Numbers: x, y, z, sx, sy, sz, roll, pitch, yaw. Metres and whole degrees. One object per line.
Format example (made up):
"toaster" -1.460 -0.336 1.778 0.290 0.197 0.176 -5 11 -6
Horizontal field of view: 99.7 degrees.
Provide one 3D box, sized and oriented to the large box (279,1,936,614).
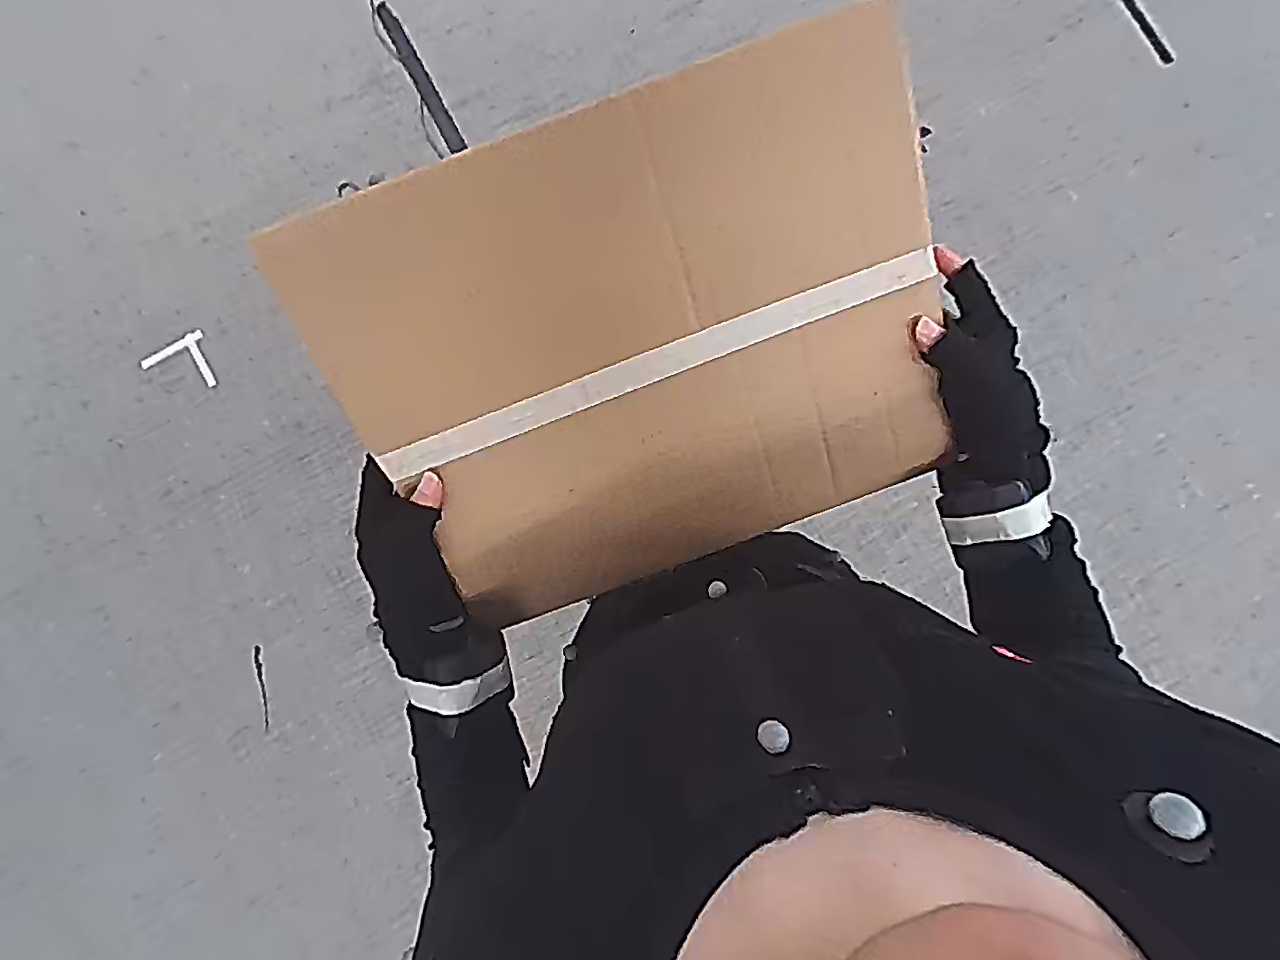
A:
"large box" -0.012 -0.141 0.524 0.408 0.320 0.320 -20 113 1
